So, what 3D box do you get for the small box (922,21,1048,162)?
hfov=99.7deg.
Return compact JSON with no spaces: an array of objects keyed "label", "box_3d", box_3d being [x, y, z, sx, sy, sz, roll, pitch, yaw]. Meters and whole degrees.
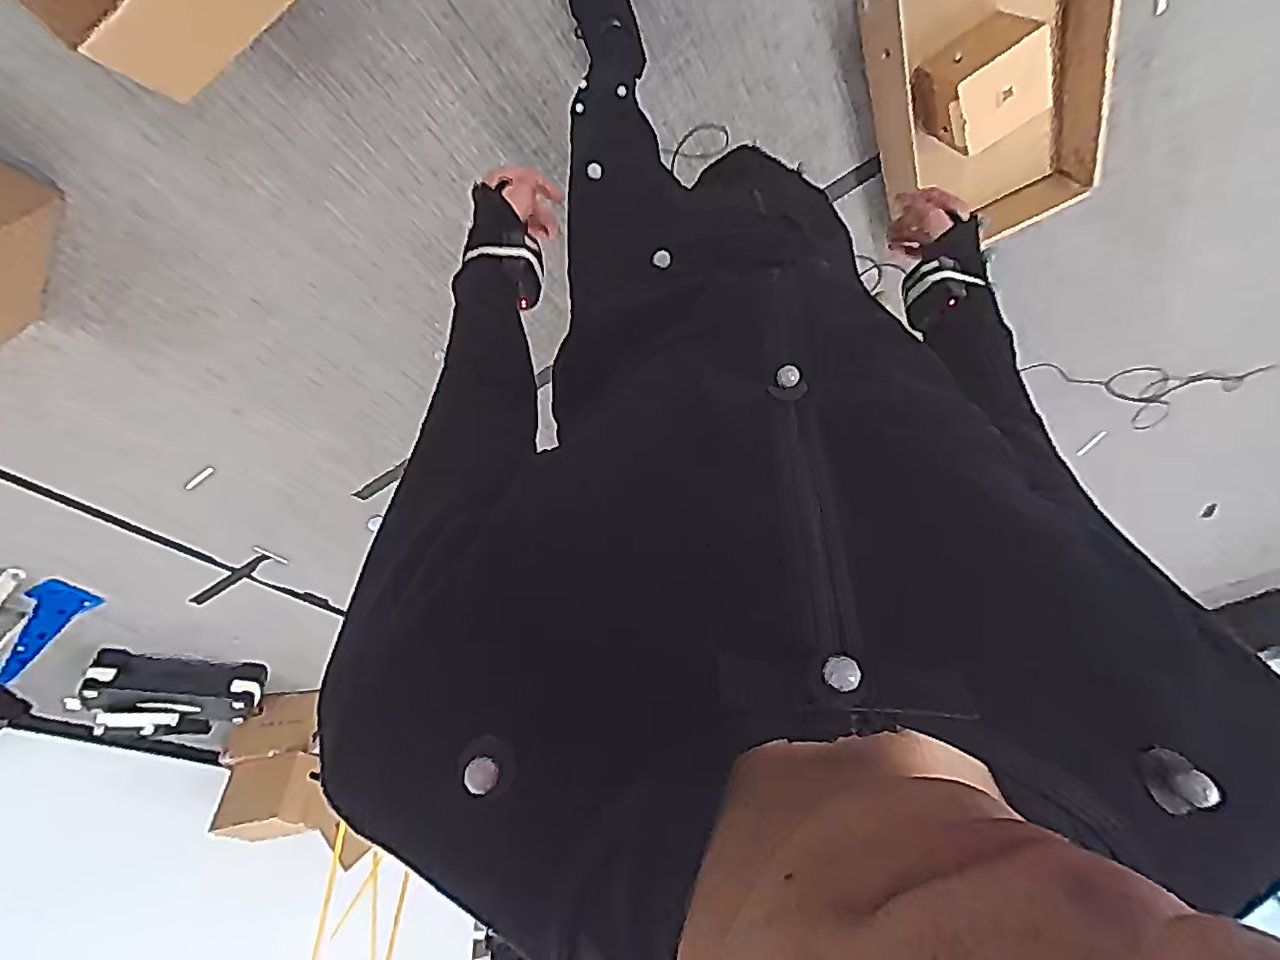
[{"label":"small box","box_3d":[0.731,-0.833,1.160,0.179,0.176,0.168,-28,134,19]}]
